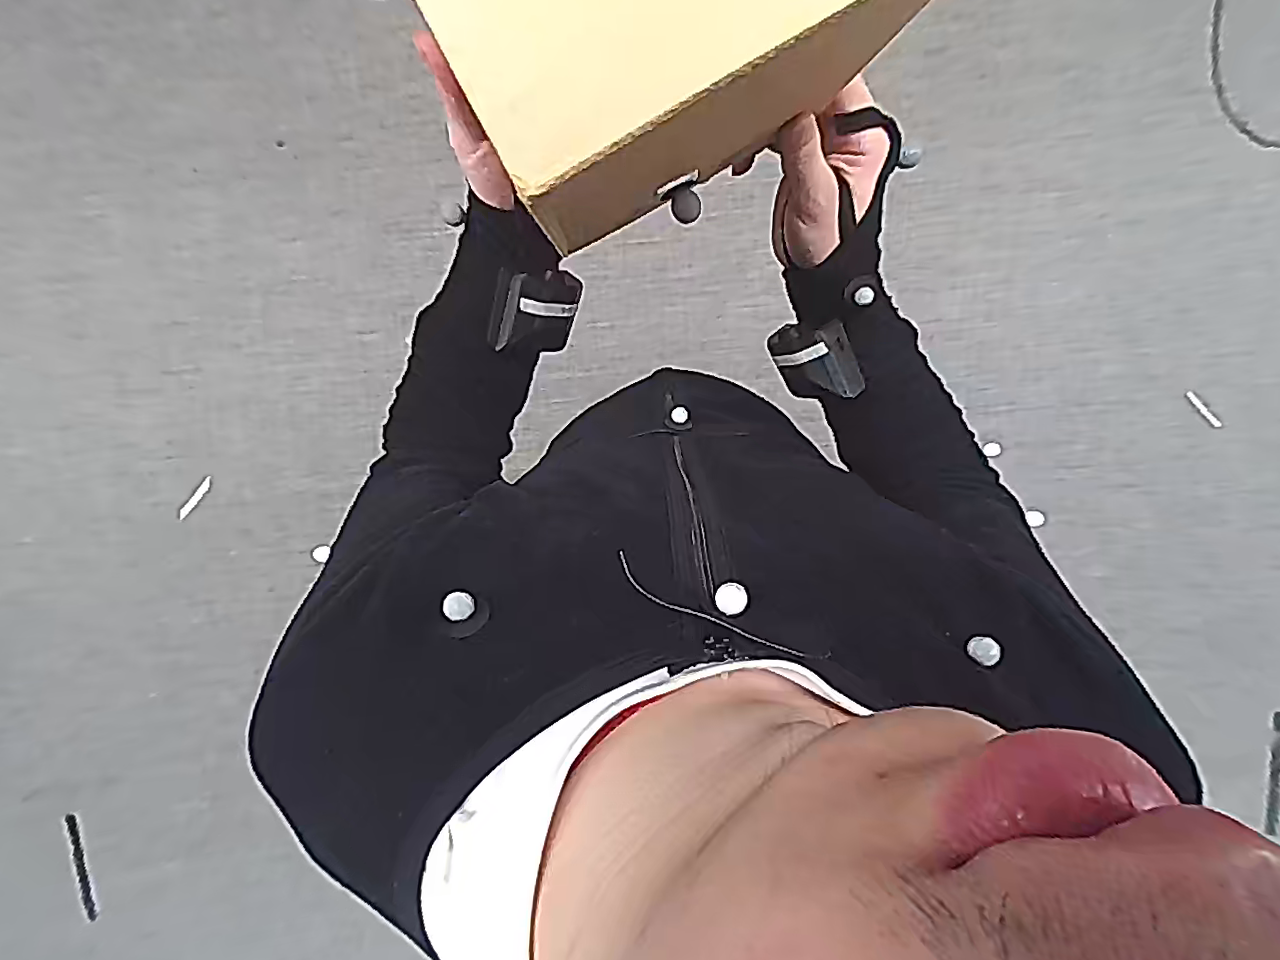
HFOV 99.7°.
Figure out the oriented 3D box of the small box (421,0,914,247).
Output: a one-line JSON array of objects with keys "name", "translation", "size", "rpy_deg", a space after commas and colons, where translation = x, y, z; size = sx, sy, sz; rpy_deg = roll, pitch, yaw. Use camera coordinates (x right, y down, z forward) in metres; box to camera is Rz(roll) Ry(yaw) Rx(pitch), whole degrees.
[{"name": "small box", "translation": [-0.010, -0.225, 0.225], "size": [0.168, 0.176, 0.179], "rpy_deg": [-28, 105, 6]}]
